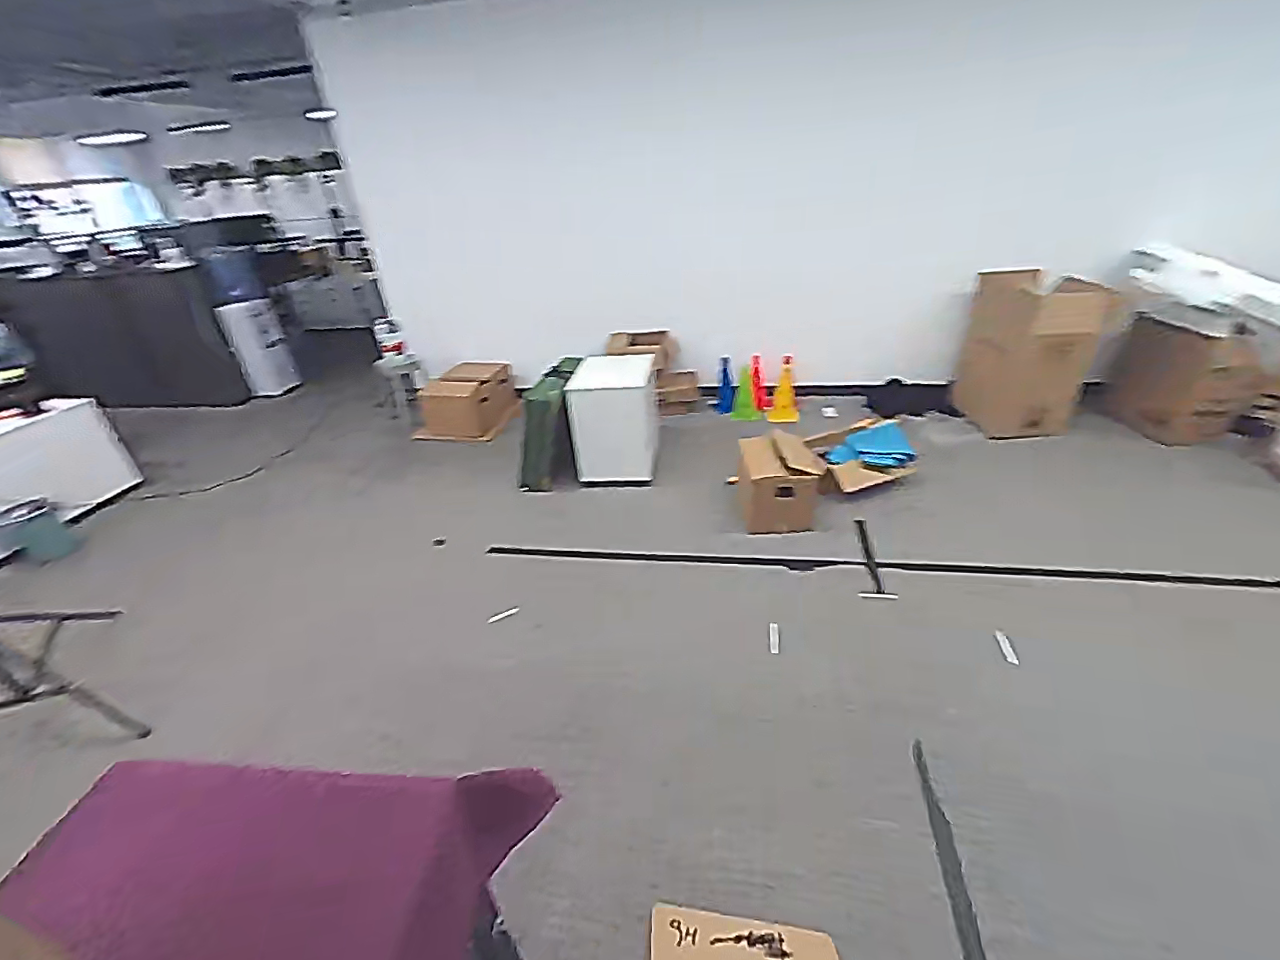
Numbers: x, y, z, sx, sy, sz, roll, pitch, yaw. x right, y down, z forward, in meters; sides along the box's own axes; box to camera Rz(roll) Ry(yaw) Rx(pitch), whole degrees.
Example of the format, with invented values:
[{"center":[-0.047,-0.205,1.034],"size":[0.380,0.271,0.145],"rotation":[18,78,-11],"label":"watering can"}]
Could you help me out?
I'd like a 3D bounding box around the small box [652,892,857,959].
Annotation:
[{"center":[0.084,0.472,0.408],"size":[0.168,0.176,0.179],"rotation":[9,7,2],"label":"small box"}]
